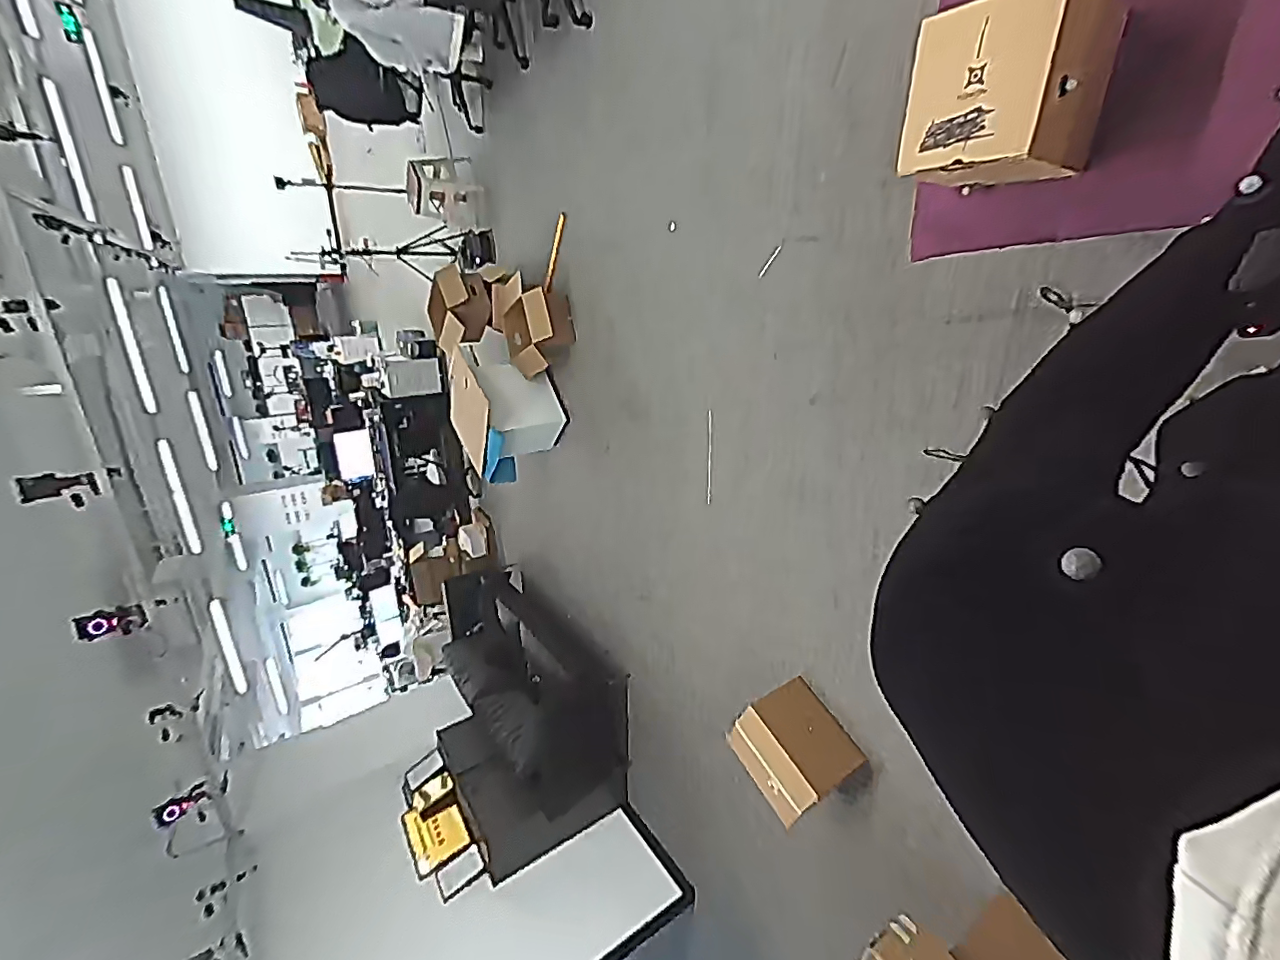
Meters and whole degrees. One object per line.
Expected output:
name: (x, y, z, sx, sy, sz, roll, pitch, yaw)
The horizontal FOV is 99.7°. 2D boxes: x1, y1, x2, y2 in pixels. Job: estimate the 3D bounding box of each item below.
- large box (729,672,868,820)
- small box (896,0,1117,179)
large box: (0.656, 1.107, 2.284, 0.408, 0.320, 0.320, 48, 139, 34)
small box: (0.465, -0.495, 0.693, 0.168, 0.176, 0.179, 27, 123, 49)
